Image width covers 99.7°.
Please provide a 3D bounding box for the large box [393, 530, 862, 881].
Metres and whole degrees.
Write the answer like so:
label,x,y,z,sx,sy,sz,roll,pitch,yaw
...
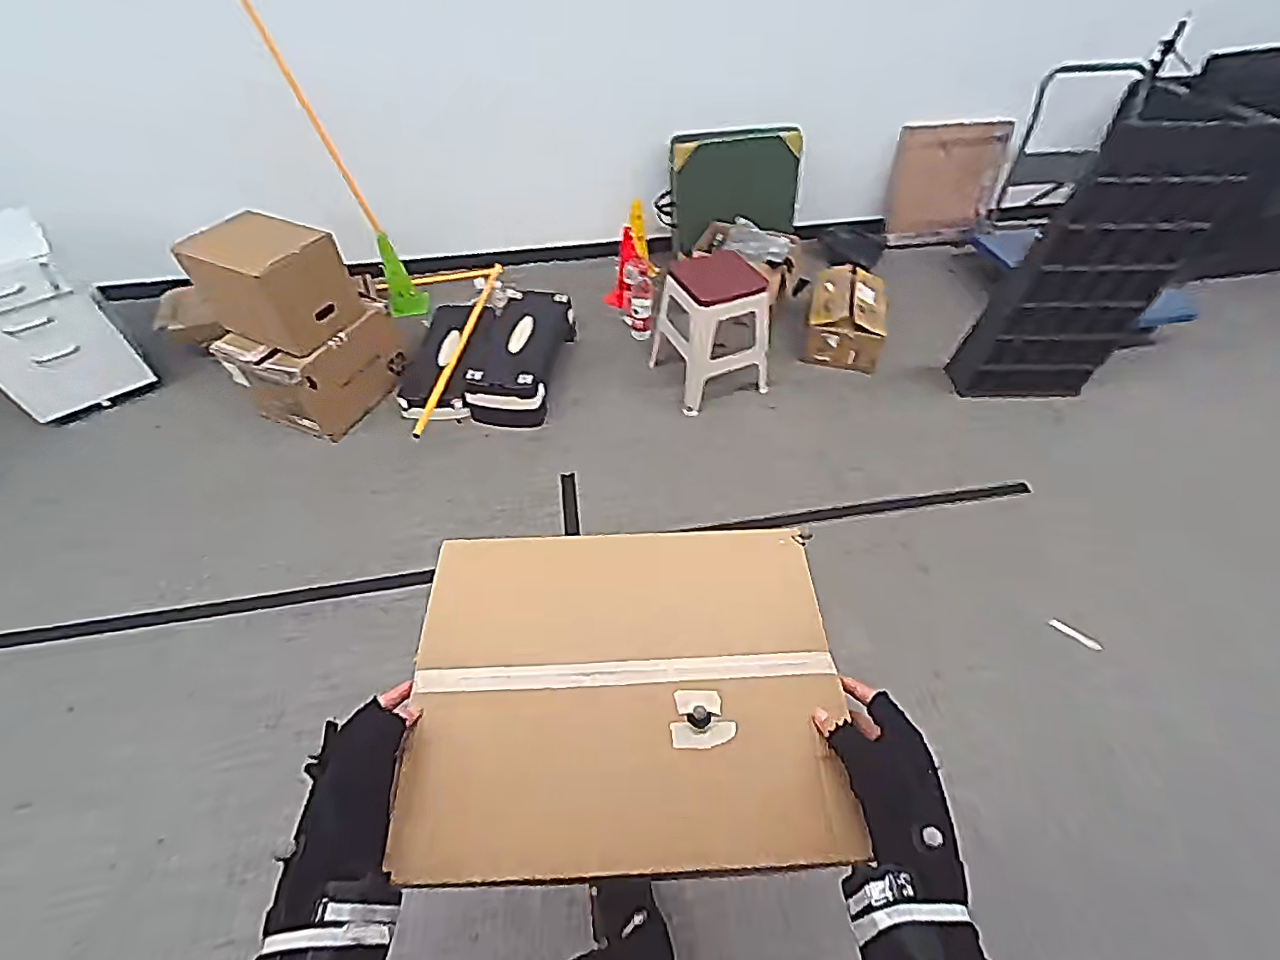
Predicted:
label,x,y,z,sx,sy,sz,roll,pitch,yaw
large box,-0.017,0.279,0.657,0.408,0.320,0.320,-2,53,-2
